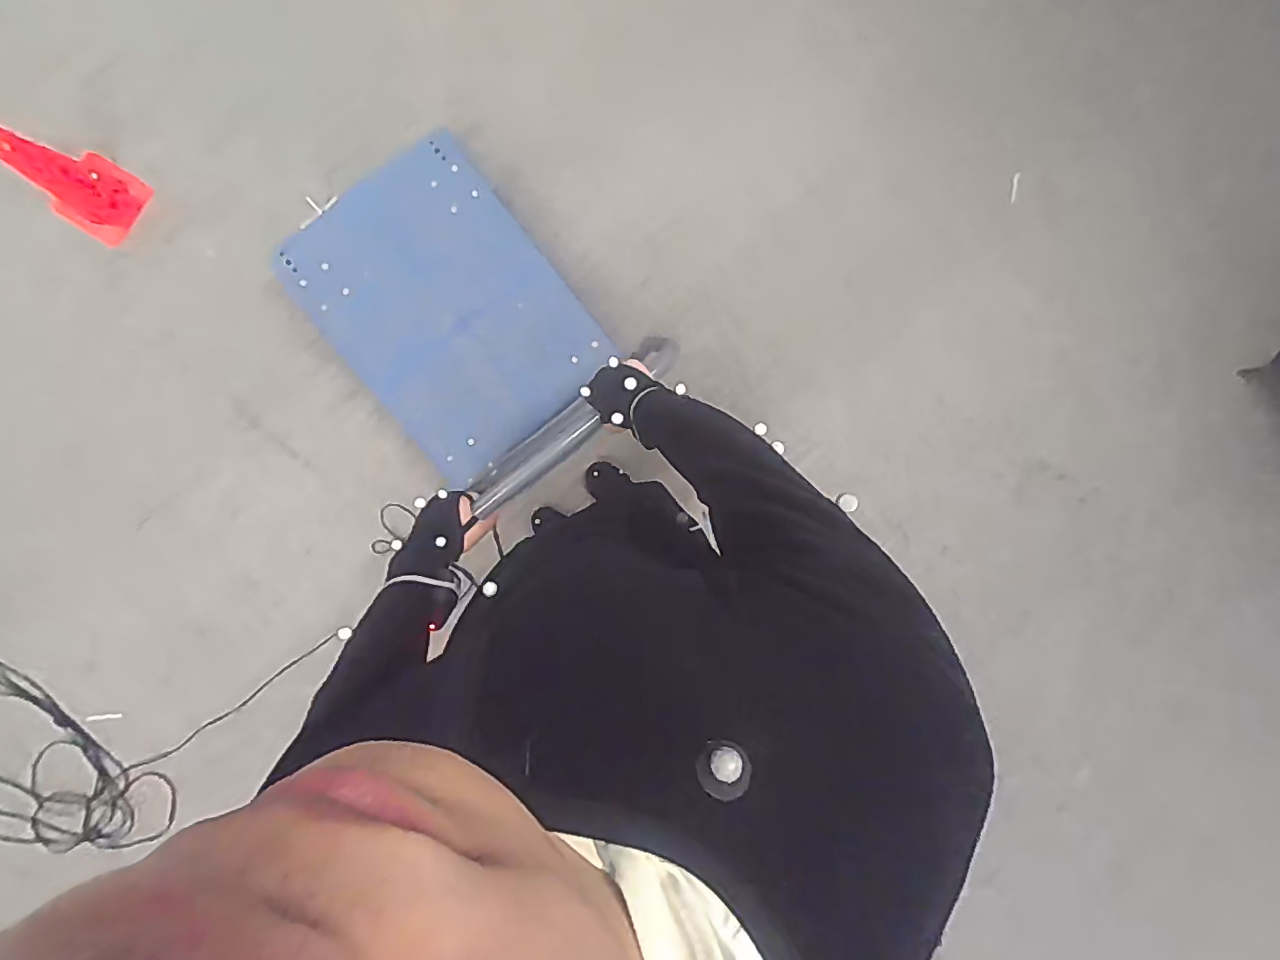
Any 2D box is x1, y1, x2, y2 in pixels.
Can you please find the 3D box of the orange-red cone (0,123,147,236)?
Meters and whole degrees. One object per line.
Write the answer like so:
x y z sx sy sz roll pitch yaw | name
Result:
-1.474 -0.788 1.316 0.198 0.360 0.199 34 90 -4 | orange-red cone
